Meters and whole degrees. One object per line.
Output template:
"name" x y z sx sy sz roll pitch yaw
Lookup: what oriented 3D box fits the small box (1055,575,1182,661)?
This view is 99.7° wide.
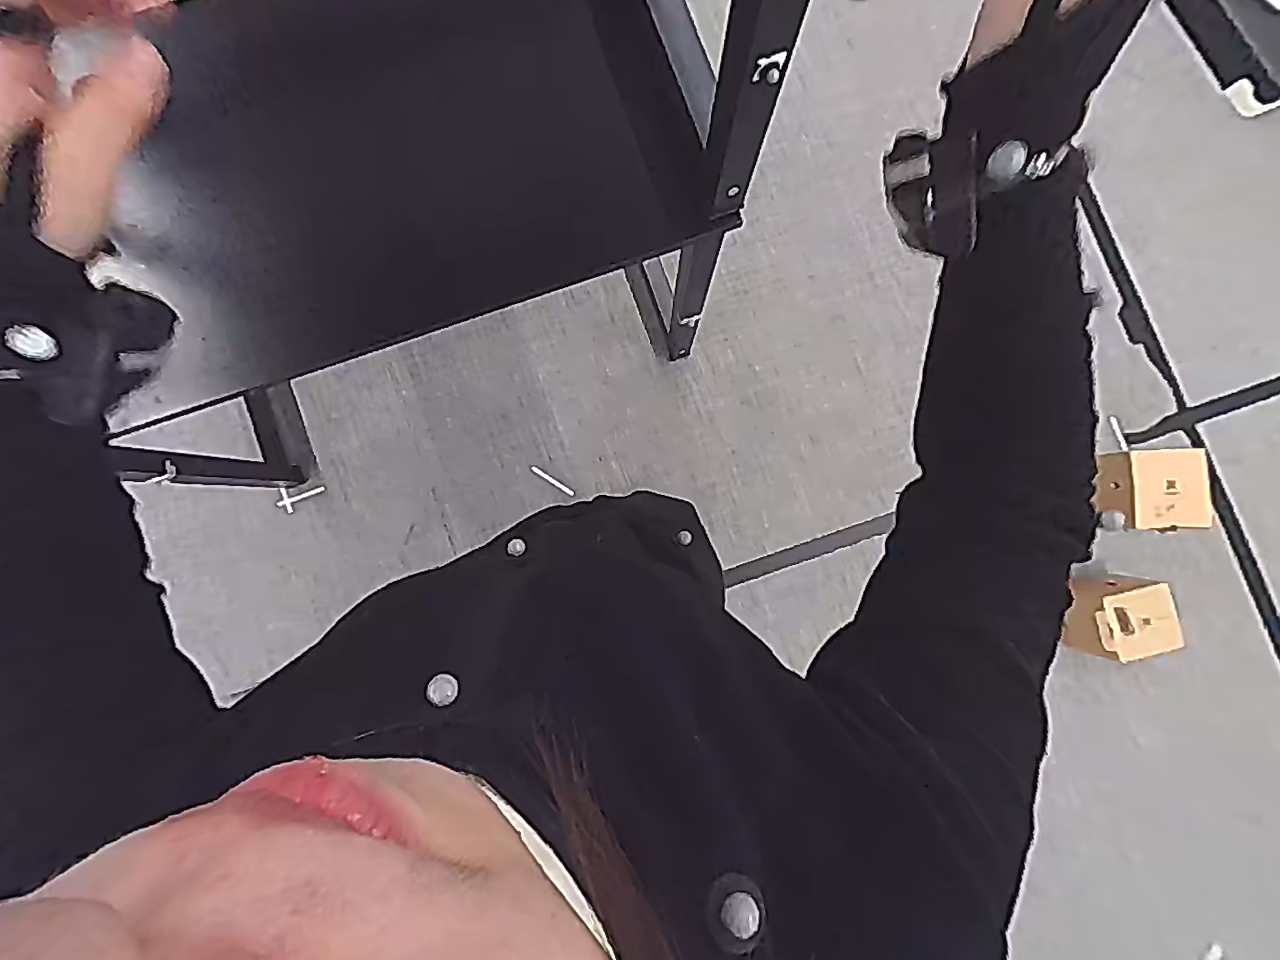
"small box" 1.232 0.353 1.412 0.179 0.176 0.168 -13 88 -2

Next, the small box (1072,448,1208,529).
"small box" 1.151 0.023 1.259 0.168 0.176 0.179 -2 87 0
